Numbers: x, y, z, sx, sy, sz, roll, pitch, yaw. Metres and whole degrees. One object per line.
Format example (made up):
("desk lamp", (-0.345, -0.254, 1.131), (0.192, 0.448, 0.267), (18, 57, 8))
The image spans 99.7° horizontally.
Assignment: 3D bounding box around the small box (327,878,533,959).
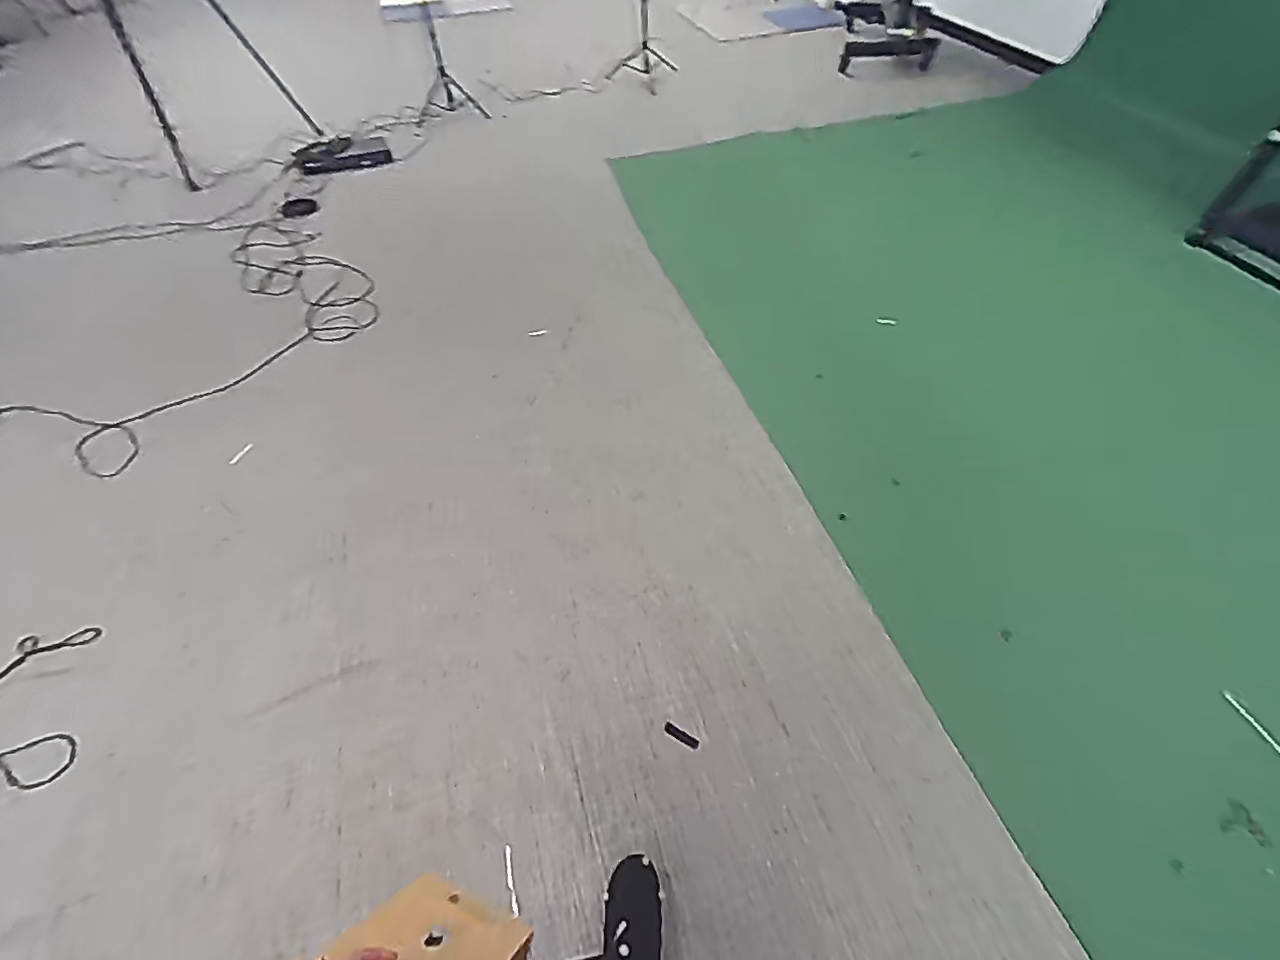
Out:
("small box", (-0.237, 0.592, 0.591), (0.168, 0.176, 0.179), (10, 89, 22))
